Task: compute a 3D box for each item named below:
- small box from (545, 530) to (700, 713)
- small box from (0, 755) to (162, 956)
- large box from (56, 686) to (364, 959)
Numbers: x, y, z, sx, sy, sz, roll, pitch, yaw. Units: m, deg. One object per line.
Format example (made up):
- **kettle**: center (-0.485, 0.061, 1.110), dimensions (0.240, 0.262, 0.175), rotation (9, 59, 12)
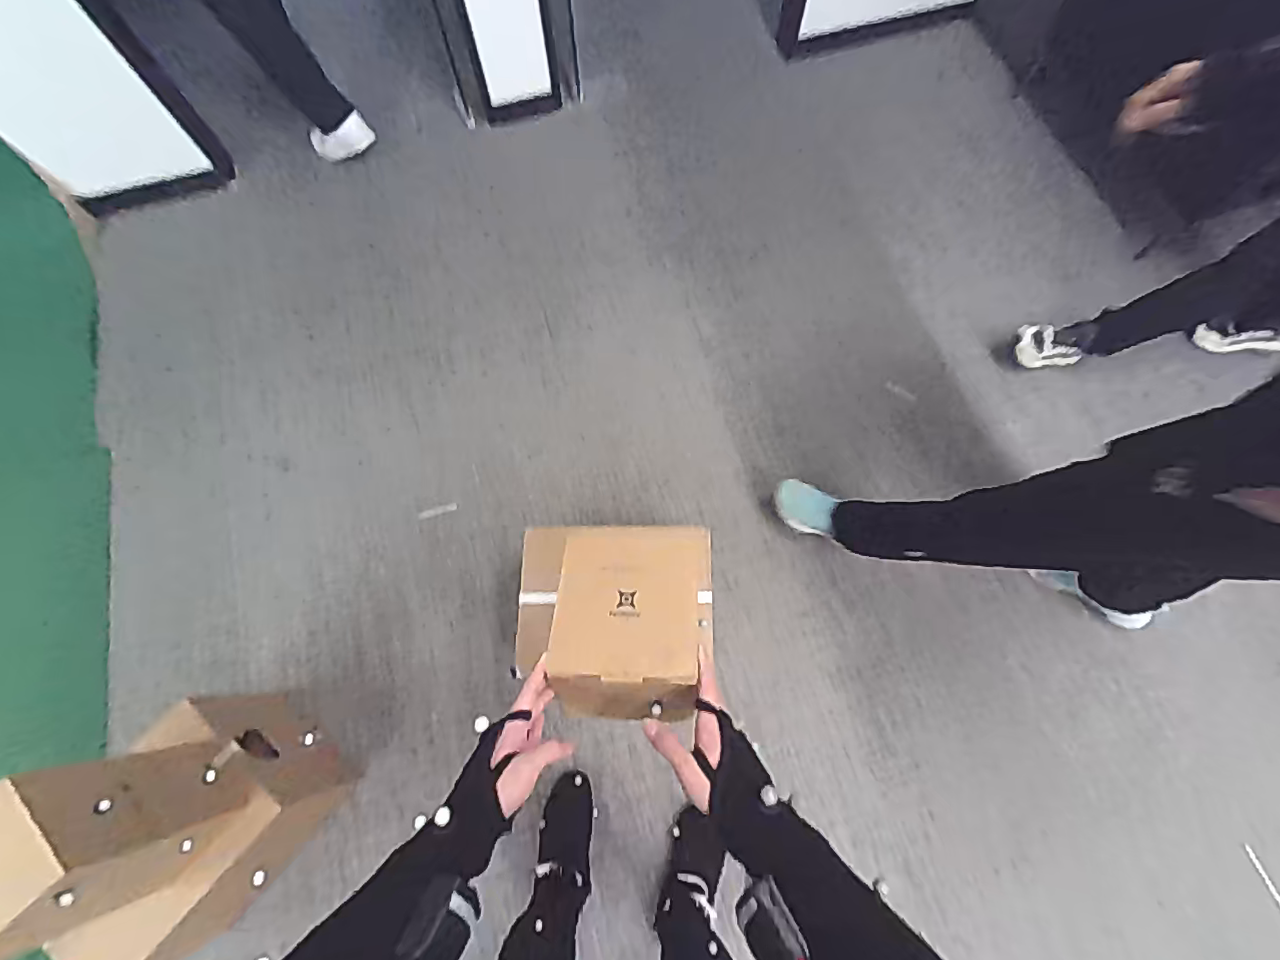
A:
- **small box**: center (-0.010, 0.182, 0.678), dimensions (0.168, 0.176, 0.179), rotation (2, 53, 4)
- **small box**: center (-0.846, 0.527, 0.773), dimensions (0.168, 0.176, 0.179), rotation (42, 76, 14)
- **large box**: center (-0.899, 0.706, 1.146), dimensions (0.320, 0.320, 0.408), rotation (37, 76, 13)
